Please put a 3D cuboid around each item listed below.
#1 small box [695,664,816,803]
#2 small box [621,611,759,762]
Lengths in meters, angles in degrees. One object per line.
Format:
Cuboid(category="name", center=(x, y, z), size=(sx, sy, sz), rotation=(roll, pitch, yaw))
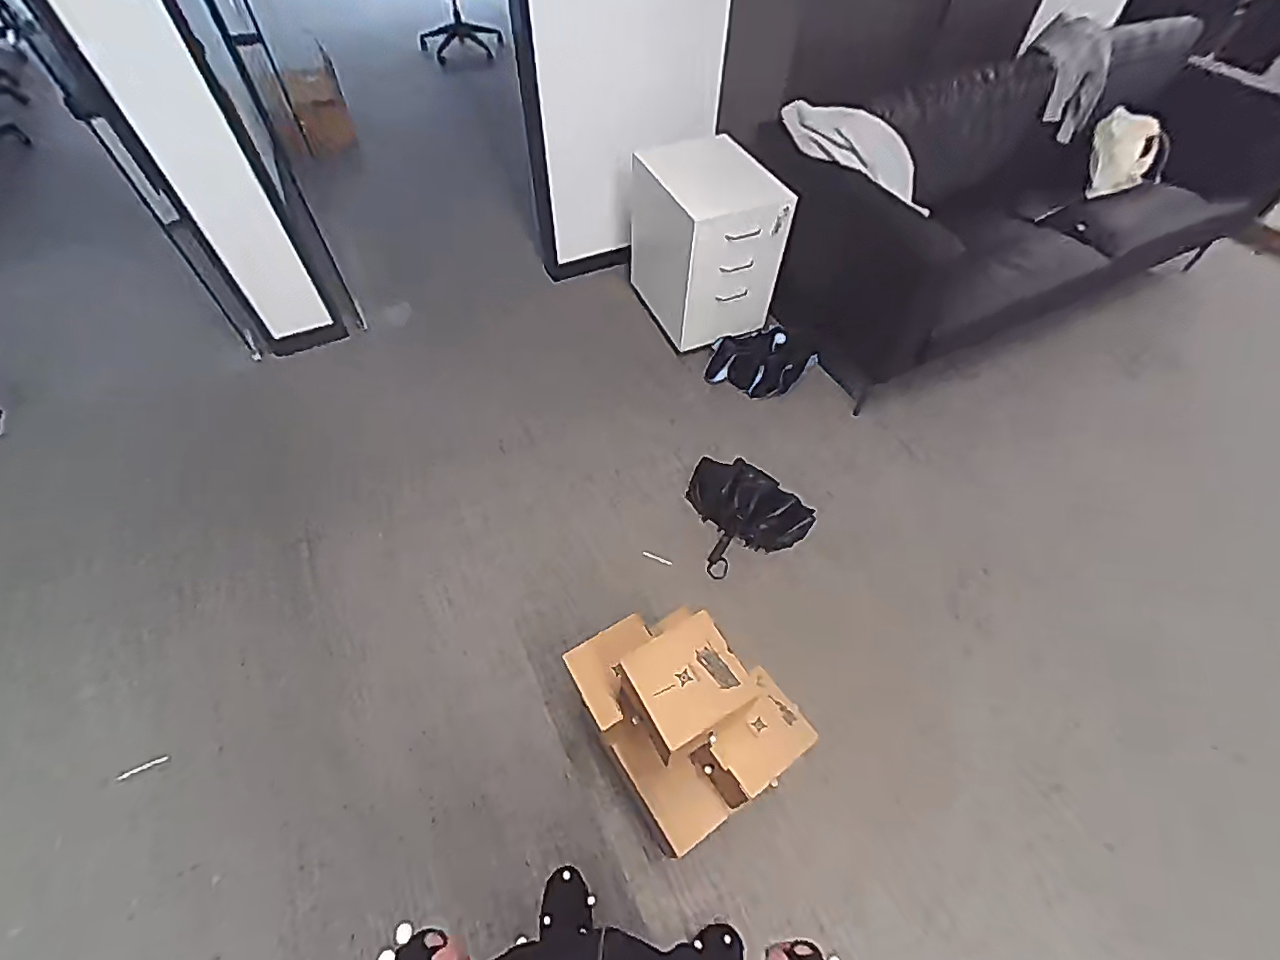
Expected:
Cuboid(category="small box", center=(0.206, 0.499, 1.057), size=(0.179, 0.176, 0.168), rotation=(-30, 60, -21))
Cuboid(category="small box", center=(0.080, 0.364, 0.949), size=(0.179, 0.176, 0.168), rotation=(-26, 58, -15))
